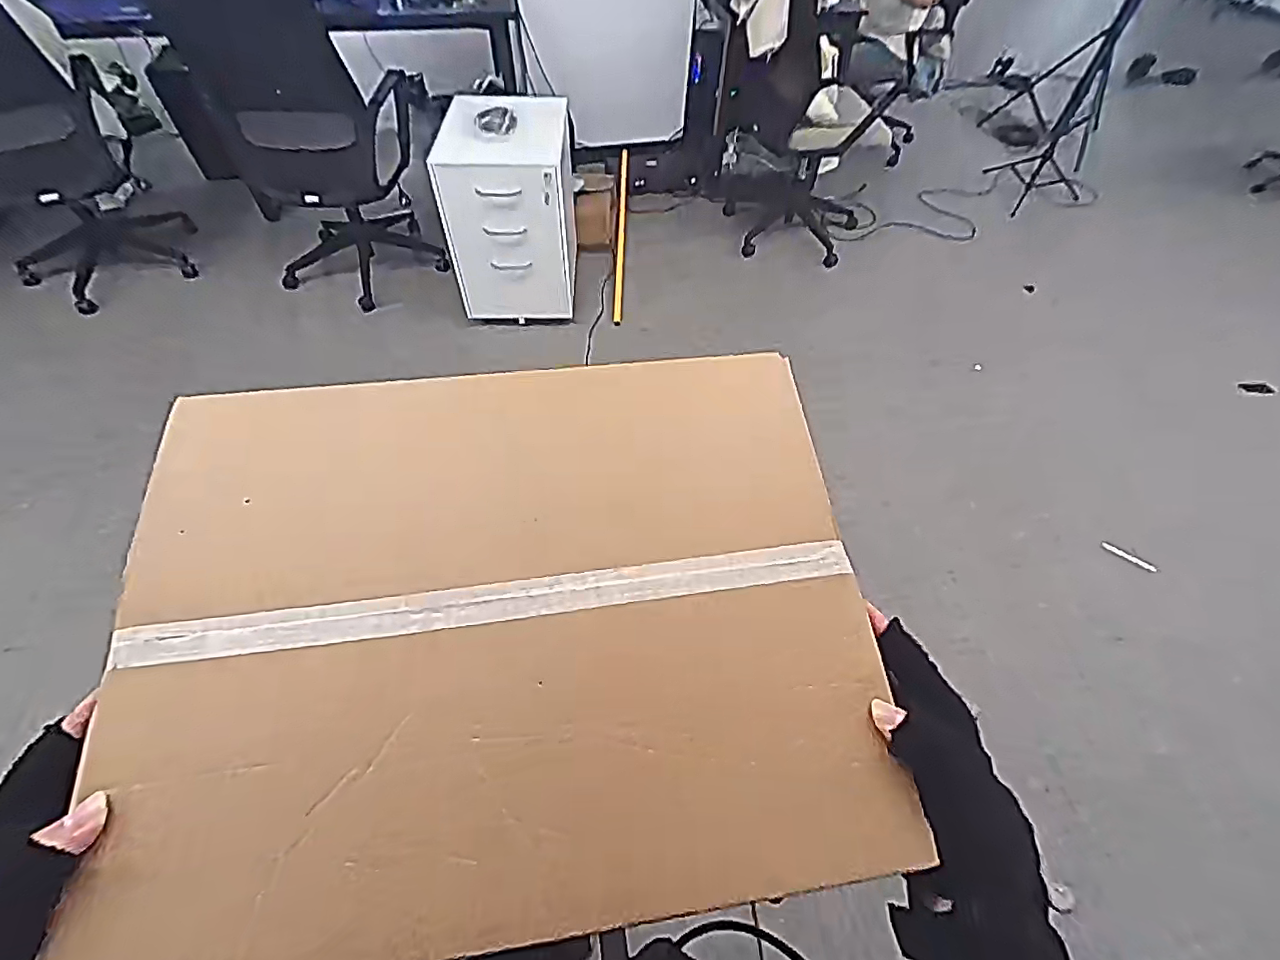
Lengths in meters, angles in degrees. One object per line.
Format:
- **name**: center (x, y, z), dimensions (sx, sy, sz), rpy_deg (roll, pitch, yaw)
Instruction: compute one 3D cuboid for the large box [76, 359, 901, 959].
- **large box**: center (-0.085, 0.131, 0.453), dimensions (0.408, 0.320, 0.320), rpy_deg (-6, 66, -6)
